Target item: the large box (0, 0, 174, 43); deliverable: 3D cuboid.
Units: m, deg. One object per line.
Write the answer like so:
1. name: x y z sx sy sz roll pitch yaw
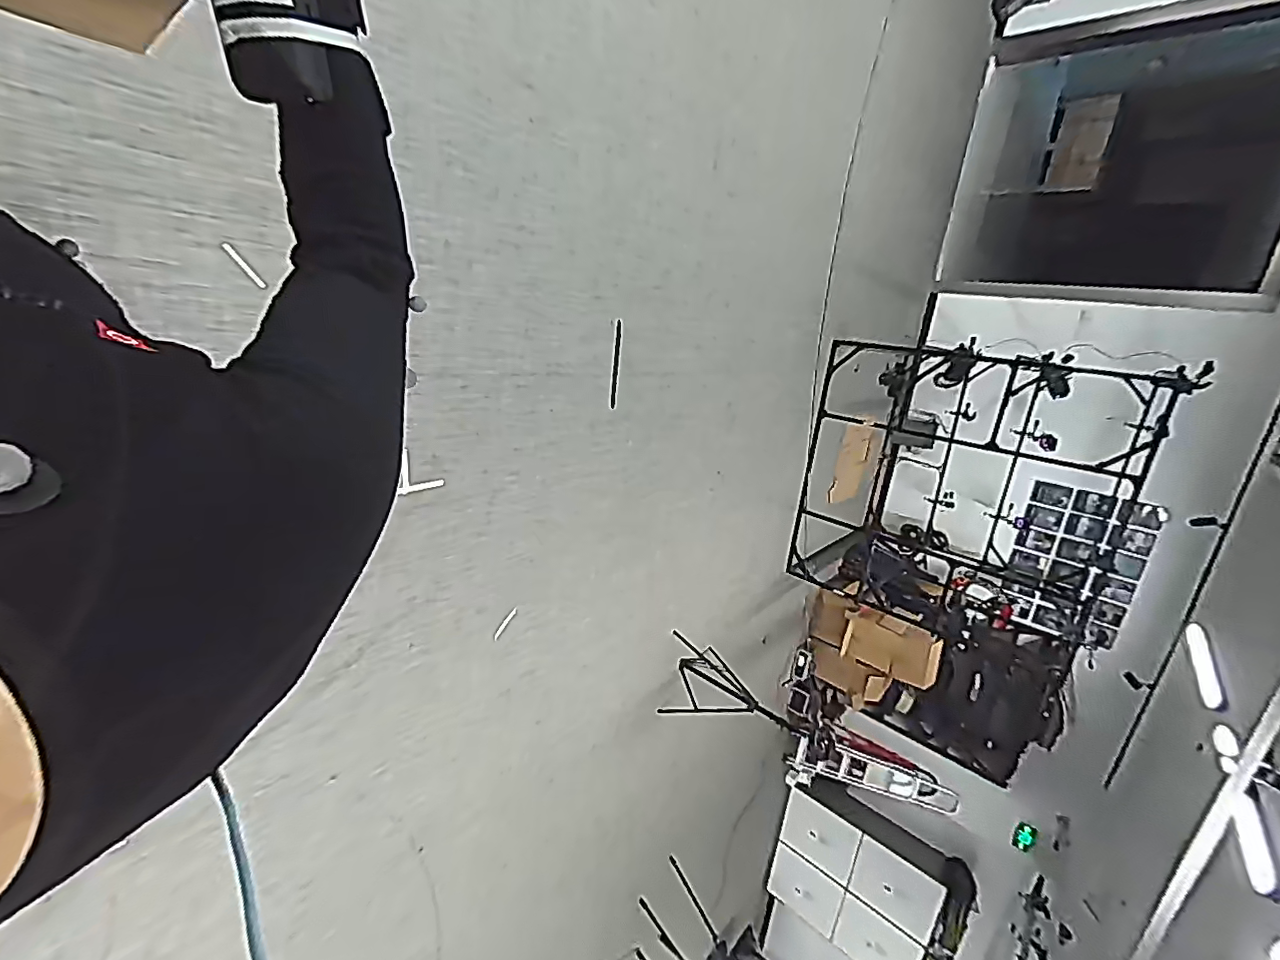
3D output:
1. large box: -0.466 -0.469 0.219 0.408 0.320 0.320 -14 117 -48
